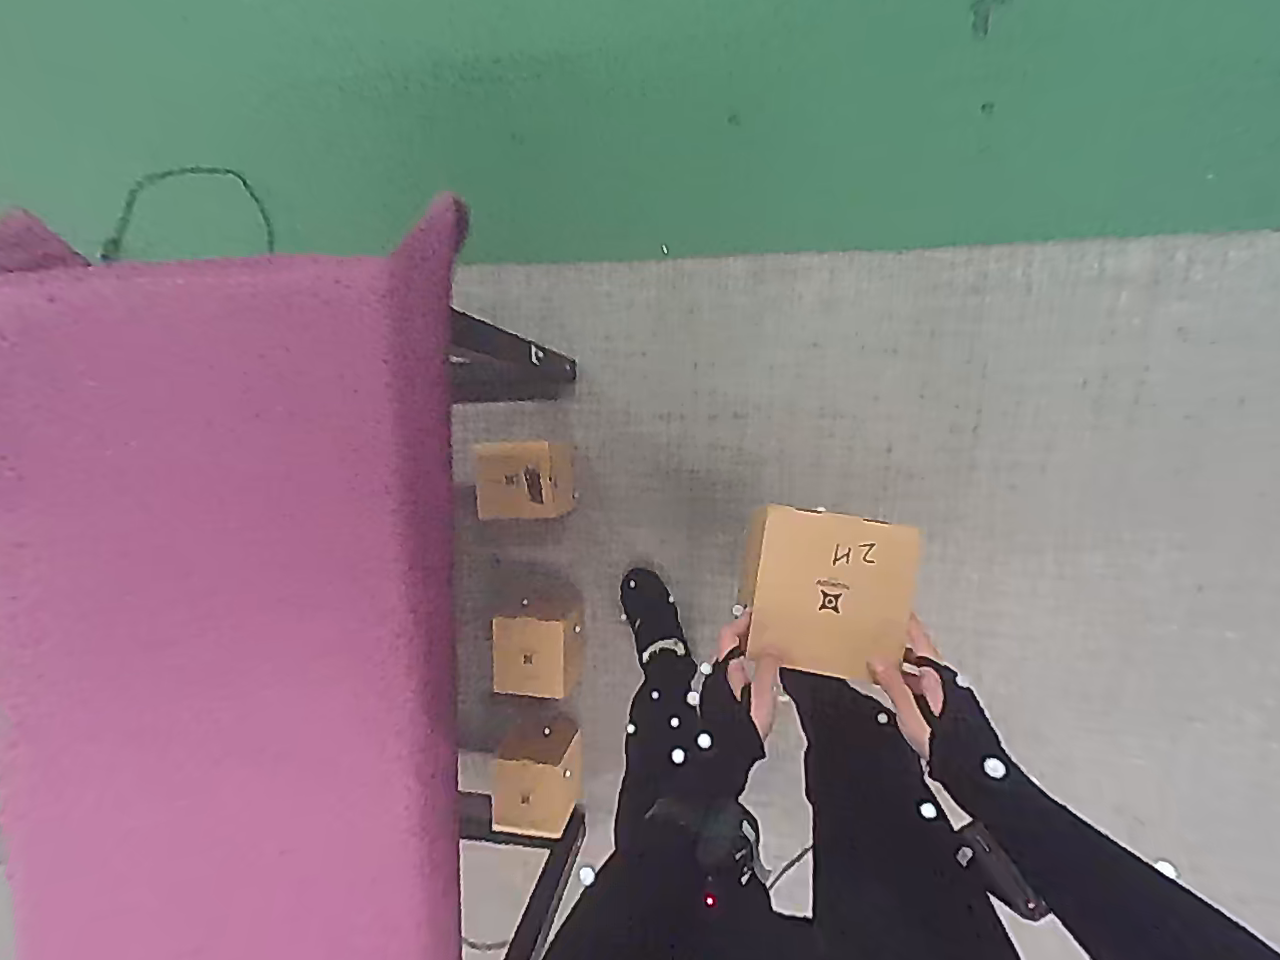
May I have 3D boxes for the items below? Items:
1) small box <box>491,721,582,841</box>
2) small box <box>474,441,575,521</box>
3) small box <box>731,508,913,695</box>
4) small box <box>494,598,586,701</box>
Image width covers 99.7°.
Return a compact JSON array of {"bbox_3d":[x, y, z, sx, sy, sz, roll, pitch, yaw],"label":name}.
[{"bbox_3d":[-0.237,0.704,1.280,0.168,0.176,0.179,0,95,10],"label":"small box"},{"bbox_3d":[-0.251,-0.001,1.220,0.179,0.176,0.168,-2,94,12],"label":"small box"},{"bbox_3d":[0.208,0.138,0.664,0.168,0.176,0.179,10,85,6],"label":"small box"},{"bbox_3d":[-0.226,0.381,1.249,0.168,0.176,0.179,1,96,11],"label":"small box"}]
